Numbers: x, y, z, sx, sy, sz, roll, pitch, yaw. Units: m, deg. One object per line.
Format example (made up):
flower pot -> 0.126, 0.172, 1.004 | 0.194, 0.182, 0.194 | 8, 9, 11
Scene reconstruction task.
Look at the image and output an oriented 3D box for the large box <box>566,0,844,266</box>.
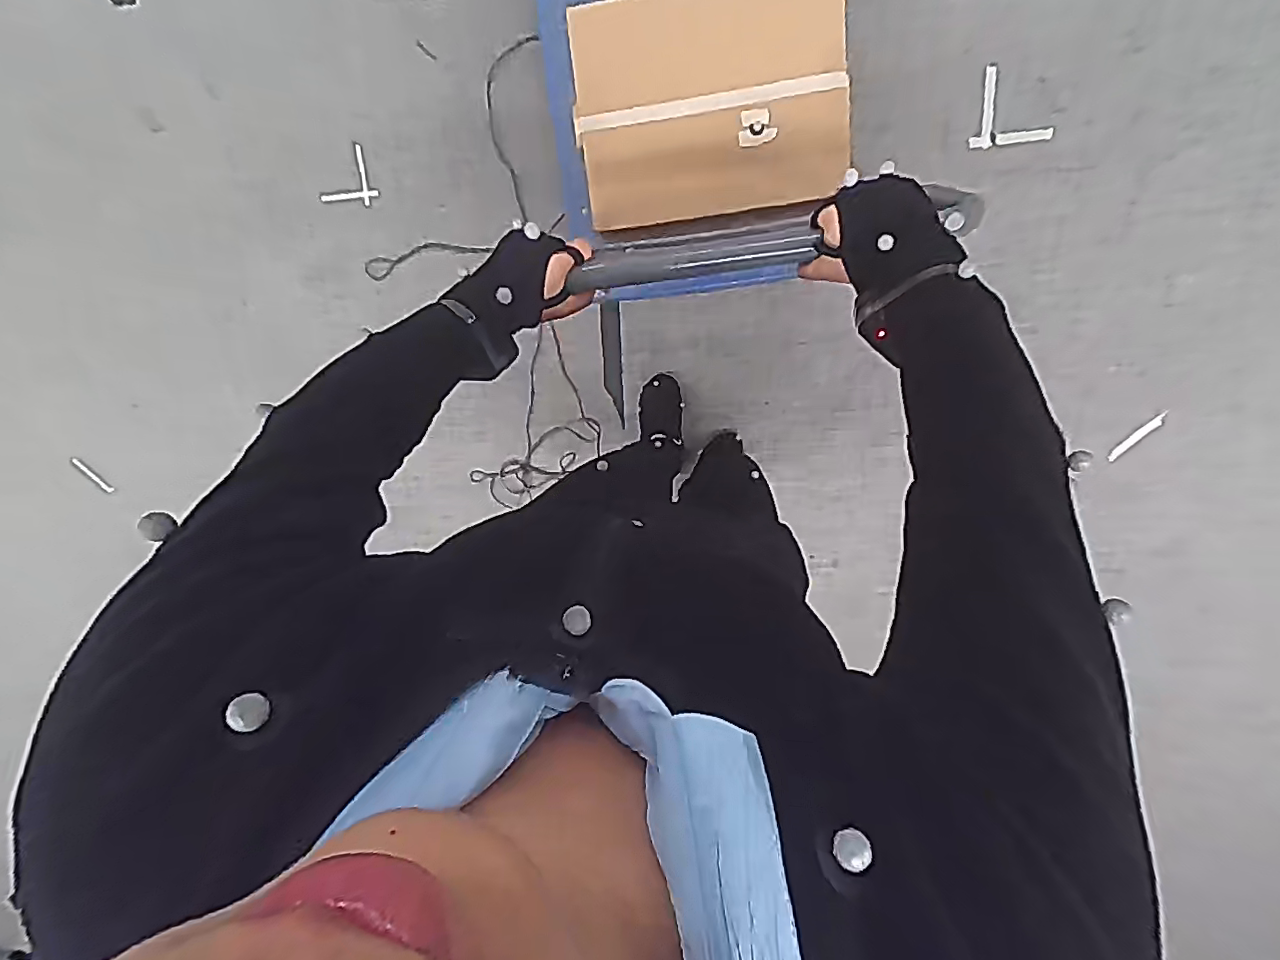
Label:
large box -> 0.112, -0.592, 0.969 | 0.408, 0.320, 0.320 | -6, 105, 6
